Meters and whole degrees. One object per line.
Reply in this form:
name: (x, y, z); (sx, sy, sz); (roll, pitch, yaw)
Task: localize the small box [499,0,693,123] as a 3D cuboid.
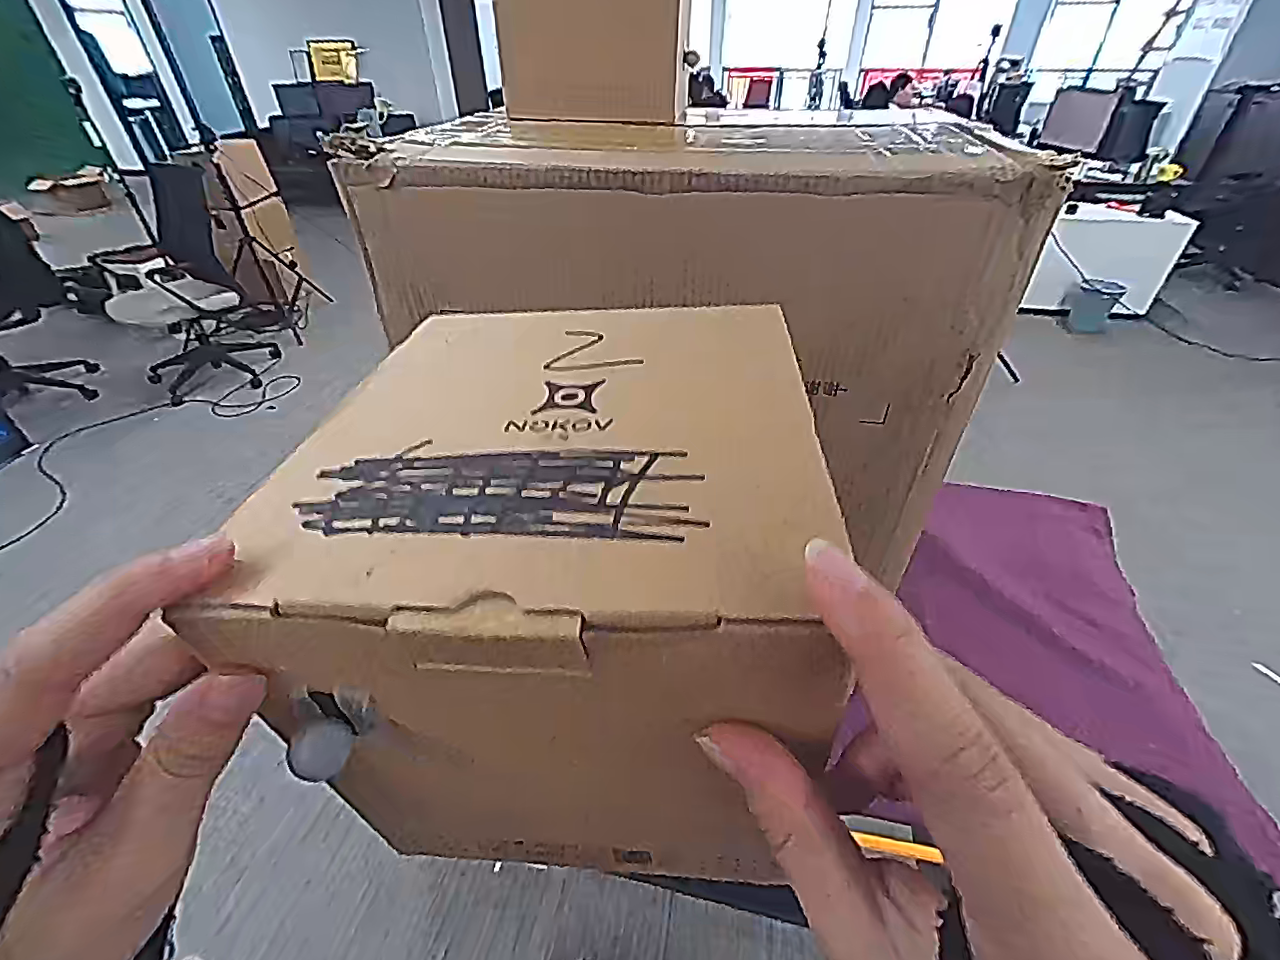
small box: (-0.040, -0.472, 0.554); (0.179, 0.176, 0.168); (6, 39, 6)
